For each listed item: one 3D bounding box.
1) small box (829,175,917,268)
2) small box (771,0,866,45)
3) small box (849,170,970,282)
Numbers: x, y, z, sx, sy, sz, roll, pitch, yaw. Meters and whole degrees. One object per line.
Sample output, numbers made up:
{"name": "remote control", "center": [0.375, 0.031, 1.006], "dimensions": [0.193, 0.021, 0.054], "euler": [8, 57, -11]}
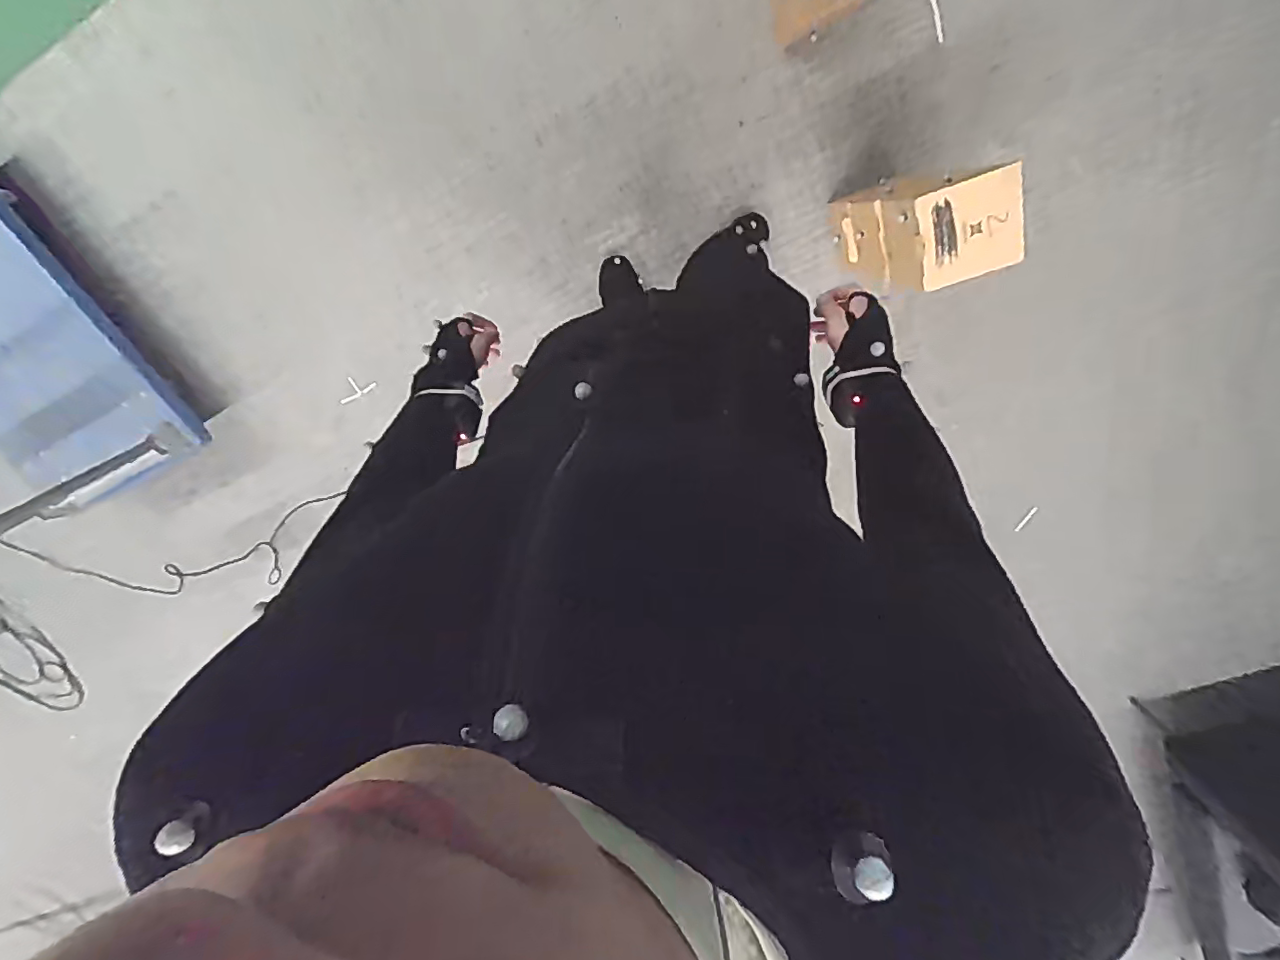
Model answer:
{"name": "small box", "center": [0.574, -0.624, 1.306], "dimensions": [0.179, 0.176, 0.168], "euler": [-12, 113, 9]}
{"name": "small box", "center": [0.362, -1.045, 1.109], "dimensions": [0.168, 0.176, 0.179], "euler": [-18, 115, 11]}
{"name": "small box", "center": [0.575, -0.548, 1.165], "dimensions": [0.179, 0.176, 0.168], "euler": [-17, 115, 11]}
